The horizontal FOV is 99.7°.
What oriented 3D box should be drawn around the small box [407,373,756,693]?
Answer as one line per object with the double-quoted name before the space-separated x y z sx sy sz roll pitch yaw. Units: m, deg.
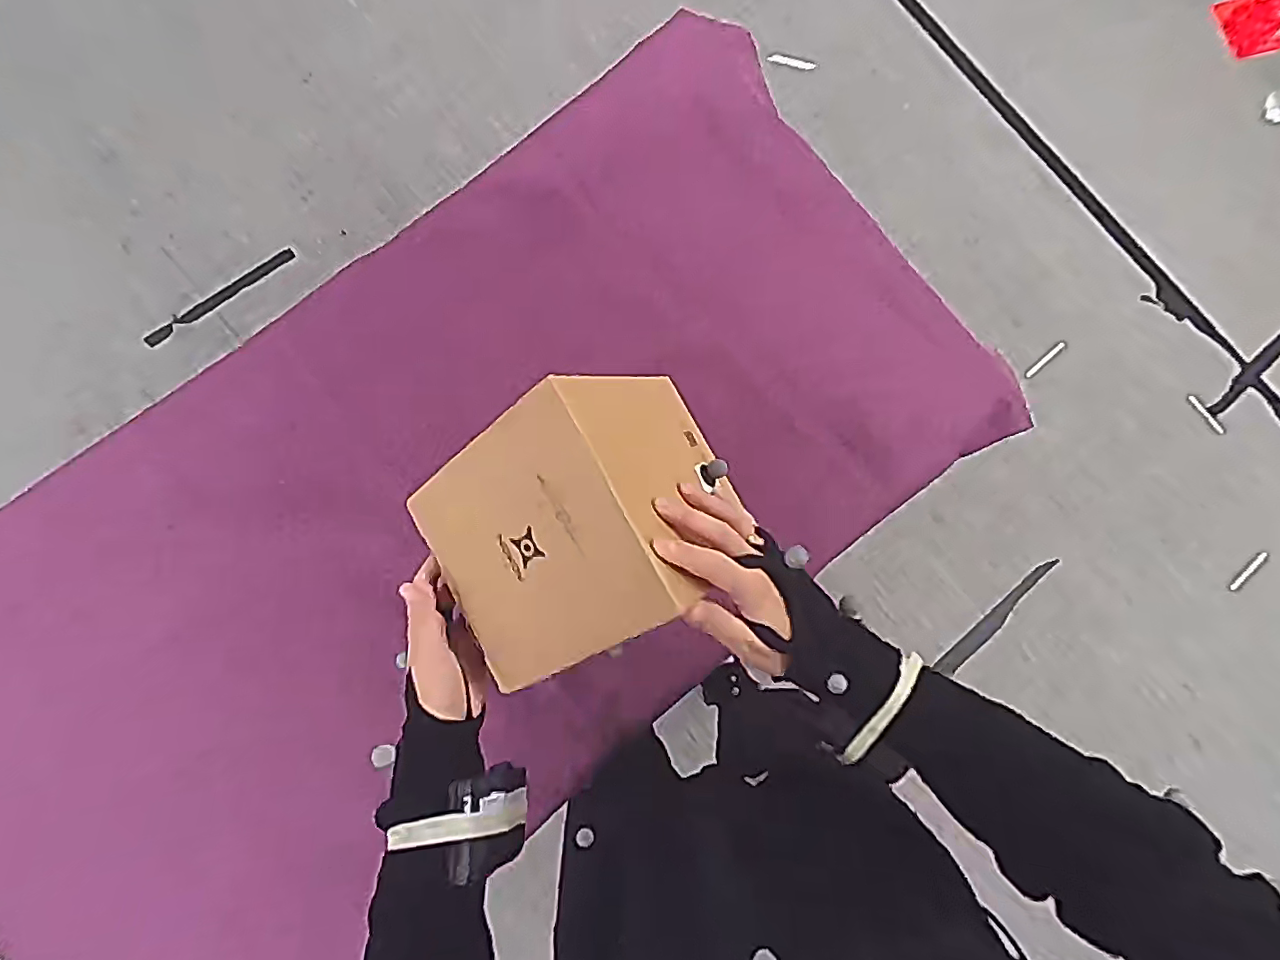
"small box" -0.038 0.032 0.428 0.179 0.176 0.168 -34 83 29
